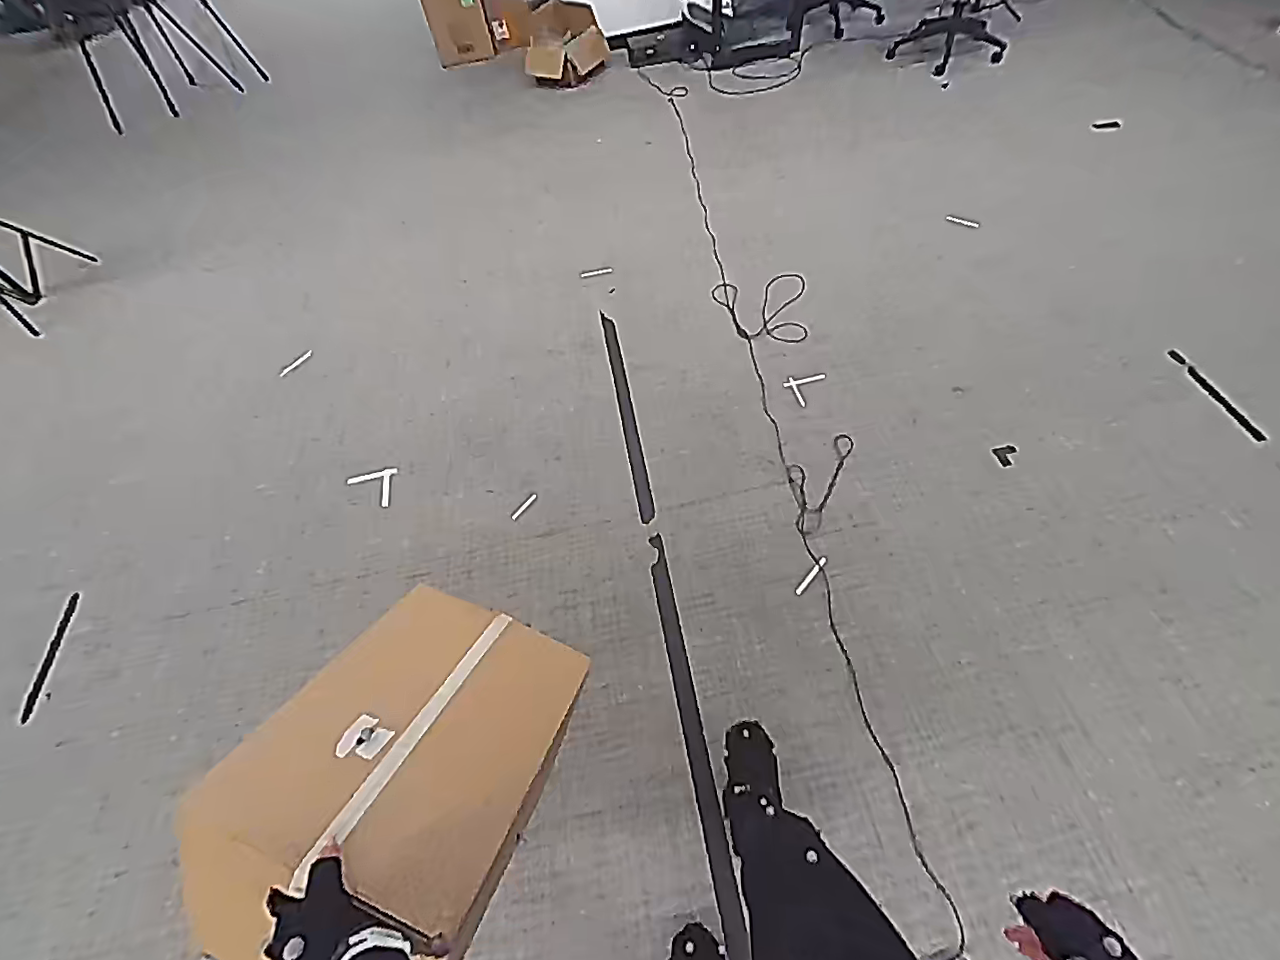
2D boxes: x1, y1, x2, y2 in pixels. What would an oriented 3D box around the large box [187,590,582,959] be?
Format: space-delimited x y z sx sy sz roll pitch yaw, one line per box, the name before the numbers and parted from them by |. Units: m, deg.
large box | -0.325 0.443 0.783 0.320 0.320 0.408 22 28 6
